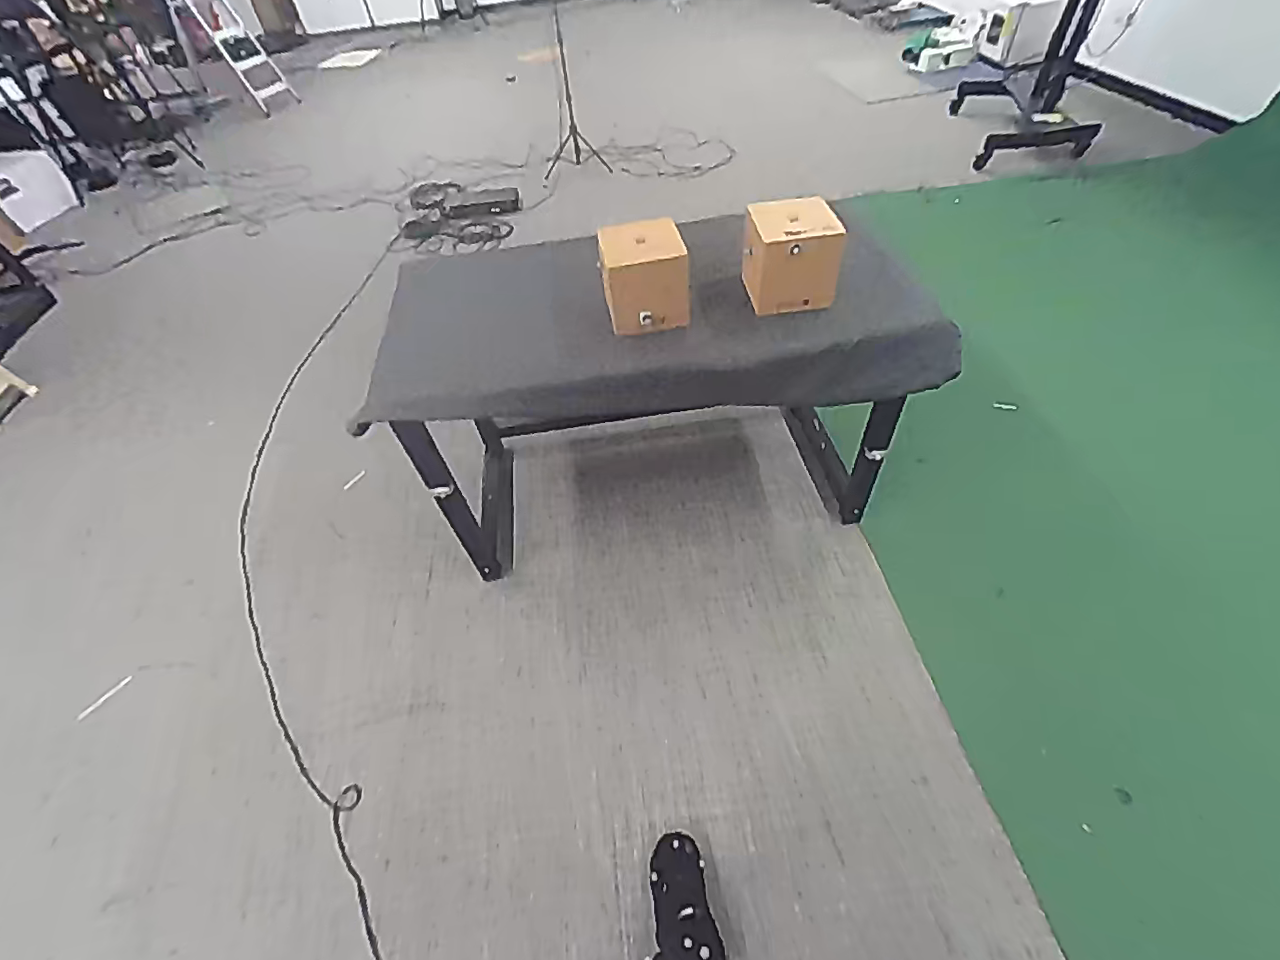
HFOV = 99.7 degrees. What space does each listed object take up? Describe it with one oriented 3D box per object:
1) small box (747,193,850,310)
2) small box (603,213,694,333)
[{"bbox_3d":[0.332,-0.494,1.172,0.168,0.176,0.179,-7,49,1],"label":"small box"},{"bbox_3d":[0.020,-0.447,1.170,0.168,0.176,0.179,-11,51,-2],"label":"small box"}]
